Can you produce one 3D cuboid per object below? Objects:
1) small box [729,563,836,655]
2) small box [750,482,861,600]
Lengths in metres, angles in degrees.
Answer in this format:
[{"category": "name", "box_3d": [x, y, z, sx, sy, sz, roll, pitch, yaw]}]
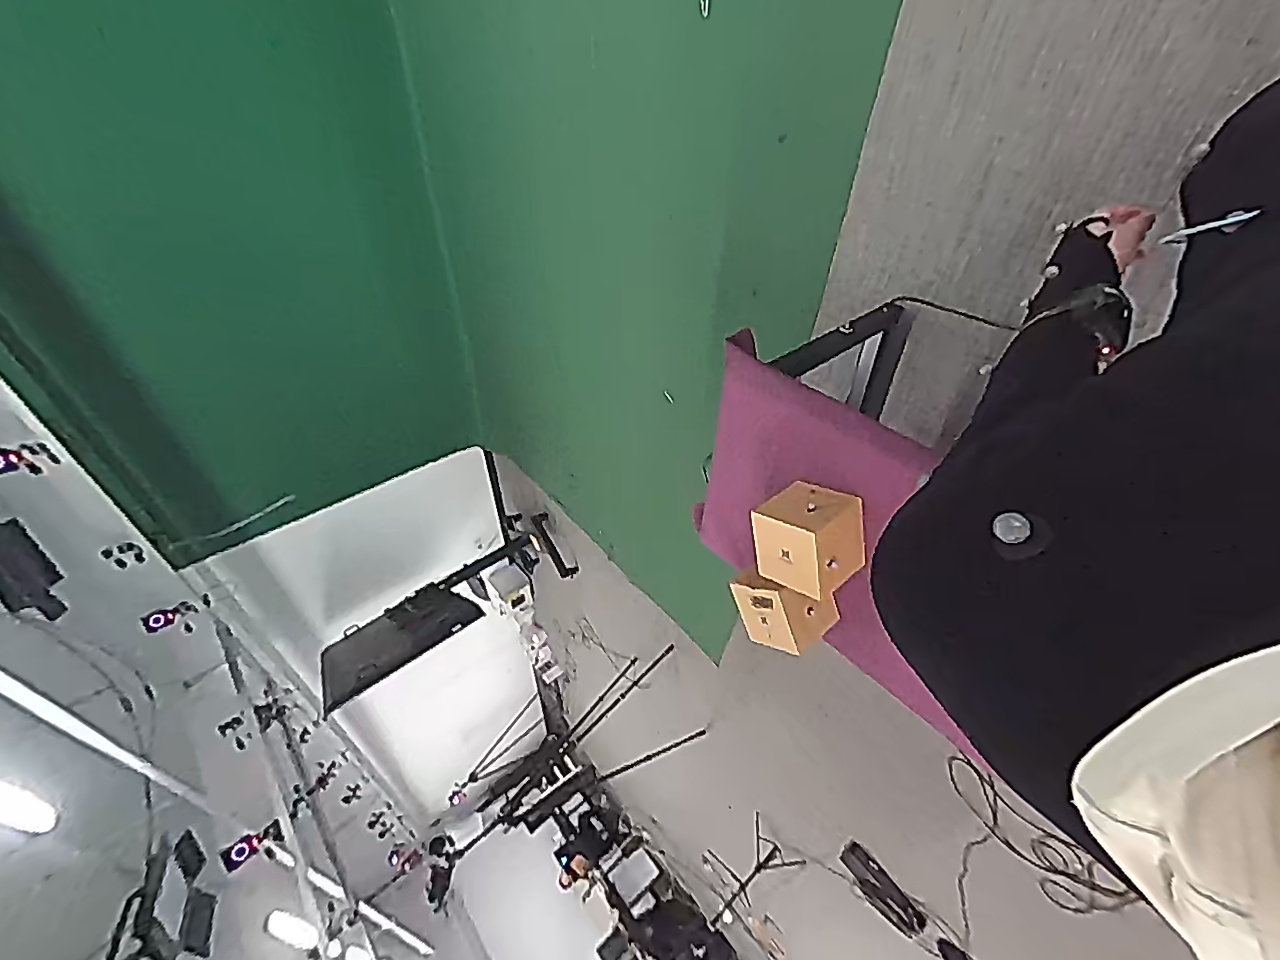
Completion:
[{"category": "small box", "box_3d": [0.358, 0.298, 1.348, 0.168, 0.176, 0.179, -1, 114, 57]}, {"category": "small box", "box_3d": [0.368, 0.125, 1.191, 0.168, 0.176, 0.179, 19, 131, 49]}]
